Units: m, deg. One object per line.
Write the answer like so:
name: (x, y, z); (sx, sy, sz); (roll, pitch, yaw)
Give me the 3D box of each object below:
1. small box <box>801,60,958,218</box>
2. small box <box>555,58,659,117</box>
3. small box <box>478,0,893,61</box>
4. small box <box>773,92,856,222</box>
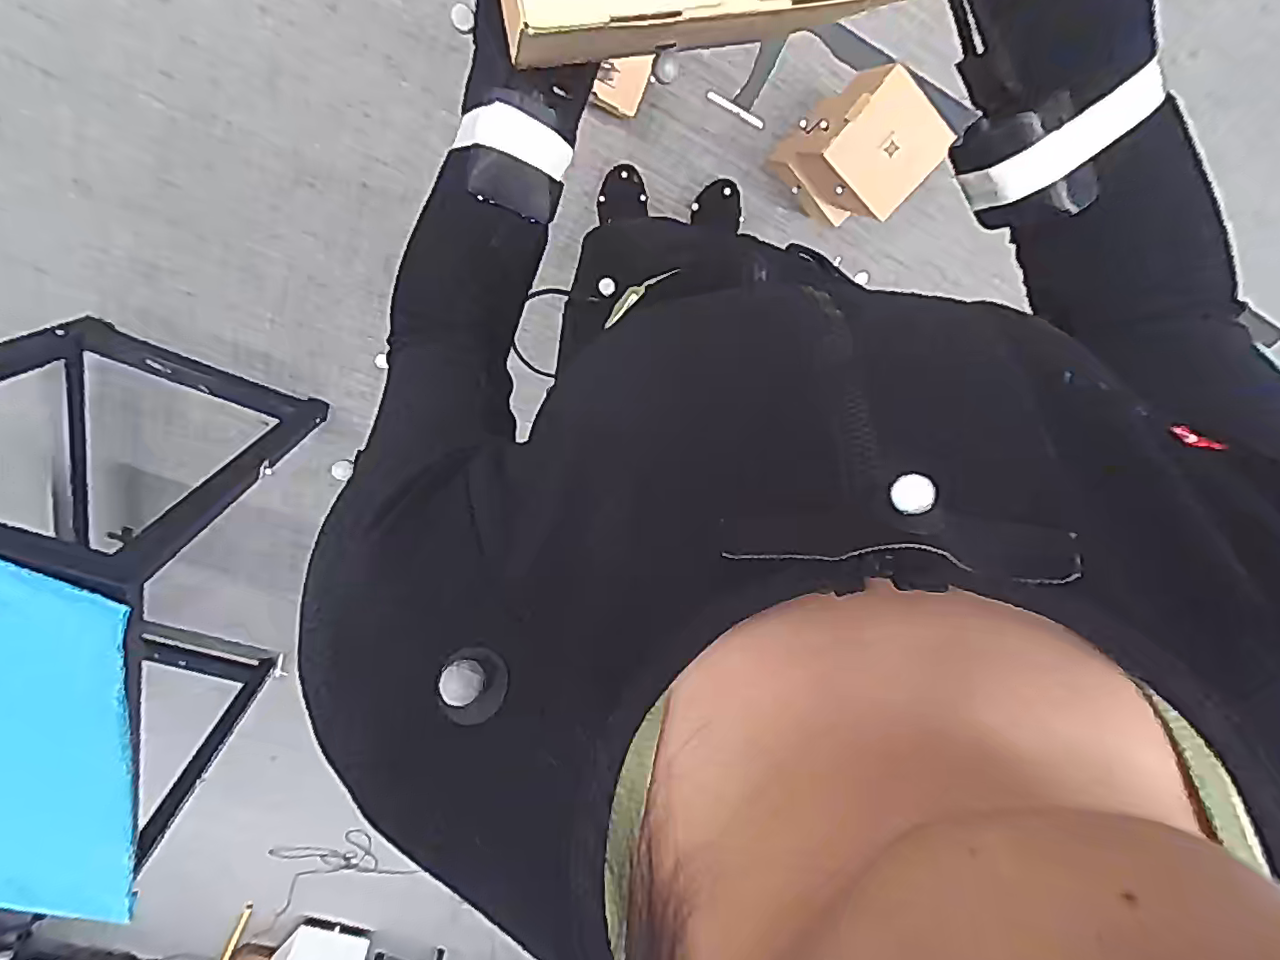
small box: (0.425, -0.615, 0.992); (0.179, 0.176, 0.168); (34, 115, -22)
small box: (-0.048, -0.828, 1.037); (0.168, 0.176, 0.179); (21, 118, -14)
small box: (0.004, -0.289, 0.224); (0.168, 0.176, 0.179); (-8, 127, -8)
small box: (0.411, -0.680, 1.145); (0.179, 0.176, 0.168); (36, 113, -23)
